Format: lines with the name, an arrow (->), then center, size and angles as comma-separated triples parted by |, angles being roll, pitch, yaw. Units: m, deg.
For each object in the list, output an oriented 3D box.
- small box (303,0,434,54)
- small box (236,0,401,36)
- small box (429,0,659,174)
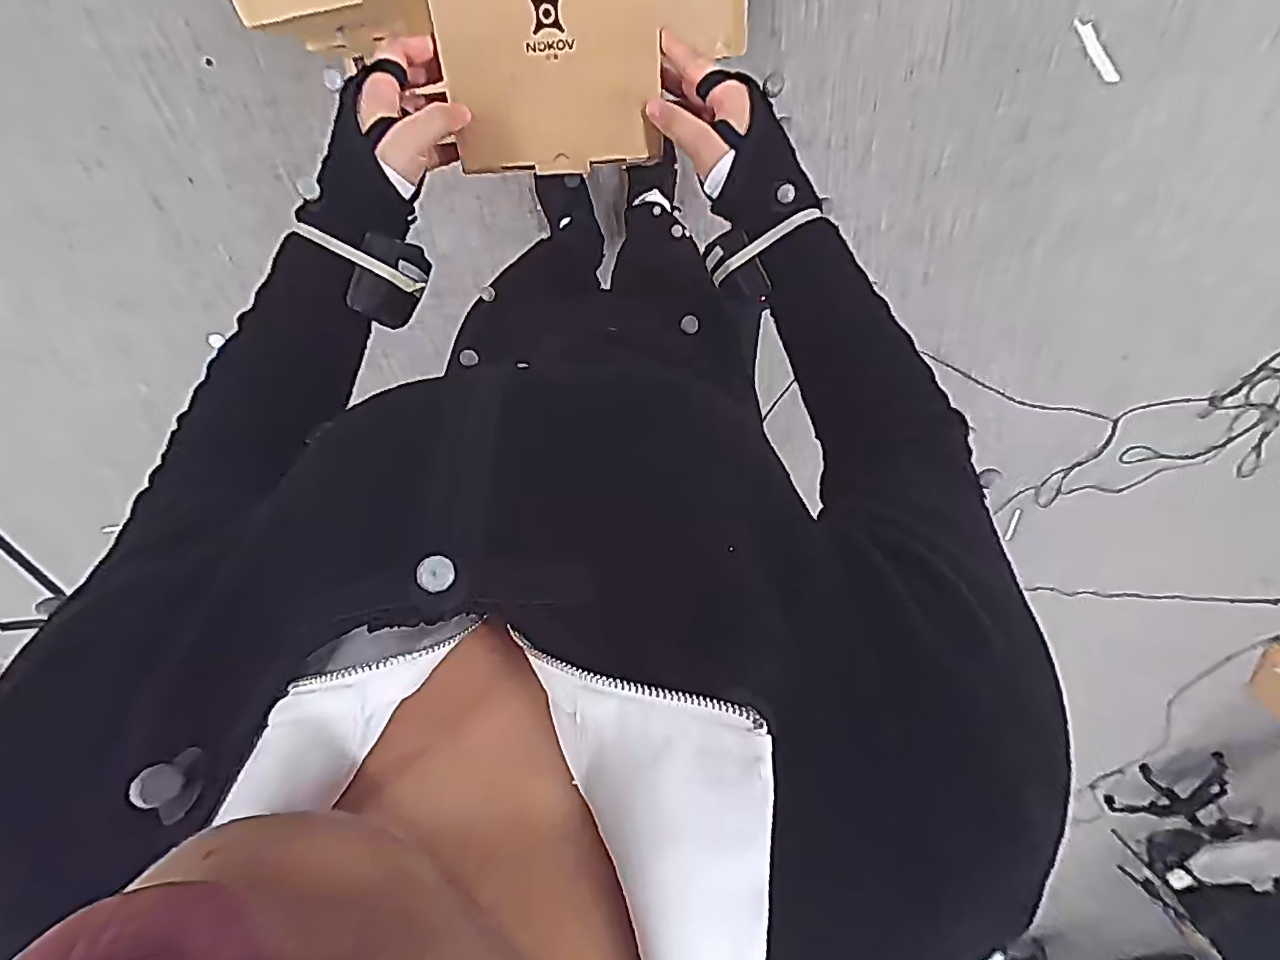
small box -> -0.451, -0.803, 0.859 | 0.168, 0.176, 0.179 | -7, 126, 2
small box -> -0.448, -0.721, 0.717 | 0.168, 0.176, 0.179 | -9, 126, 3
small box -> -0.069, -0.371, 0.463 | 0.168, 0.176, 0.179 | -4, 121, 1
